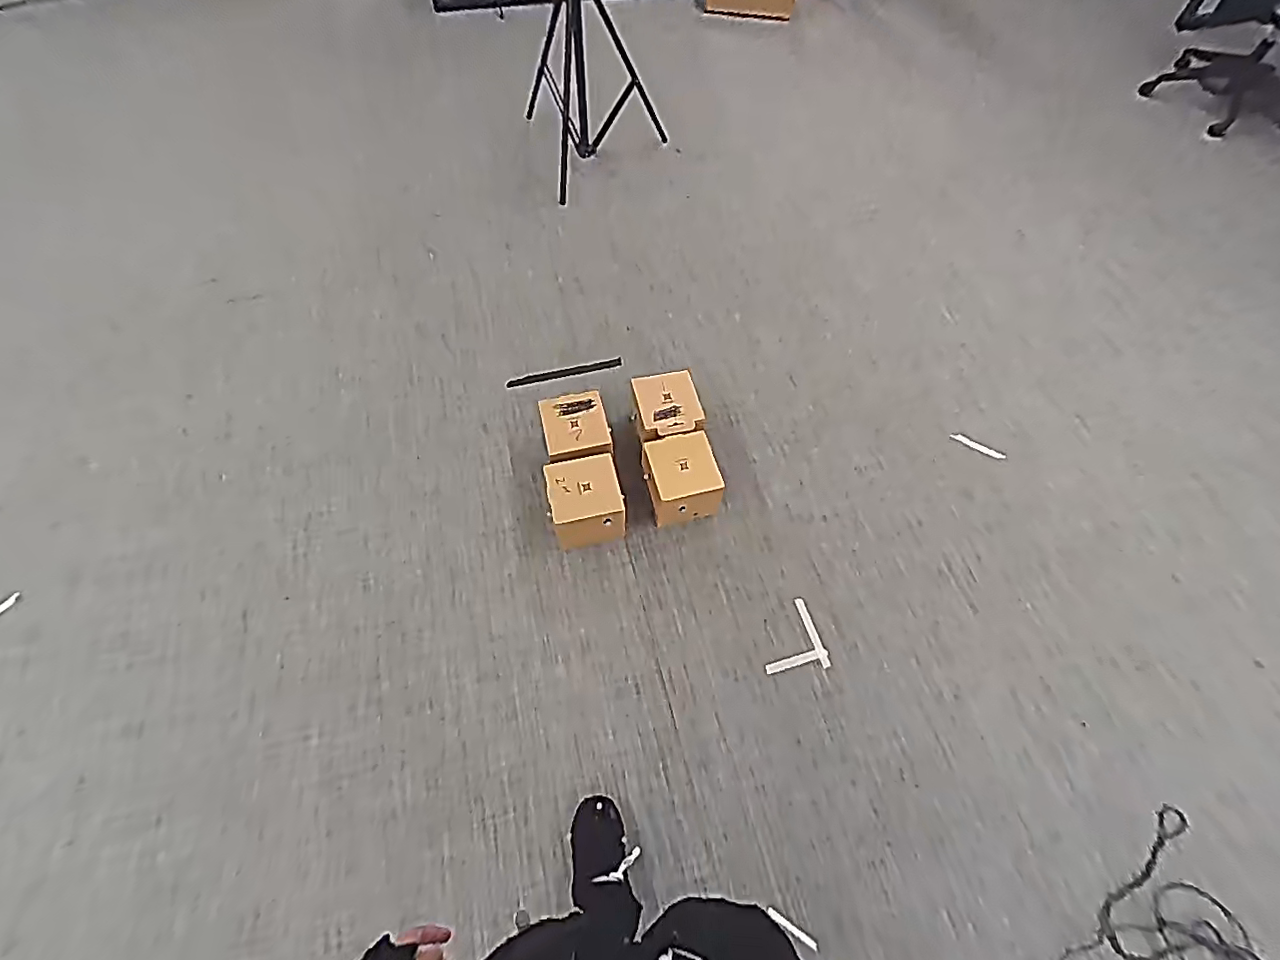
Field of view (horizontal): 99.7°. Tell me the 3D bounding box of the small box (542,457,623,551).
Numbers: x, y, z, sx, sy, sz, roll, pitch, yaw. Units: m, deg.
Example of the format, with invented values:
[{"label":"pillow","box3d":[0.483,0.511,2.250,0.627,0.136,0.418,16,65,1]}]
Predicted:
[{"label":"small box","box3d":[-0.145,0.064,1.379,0.179,0.176,0.168,-12,63,-8]}]
